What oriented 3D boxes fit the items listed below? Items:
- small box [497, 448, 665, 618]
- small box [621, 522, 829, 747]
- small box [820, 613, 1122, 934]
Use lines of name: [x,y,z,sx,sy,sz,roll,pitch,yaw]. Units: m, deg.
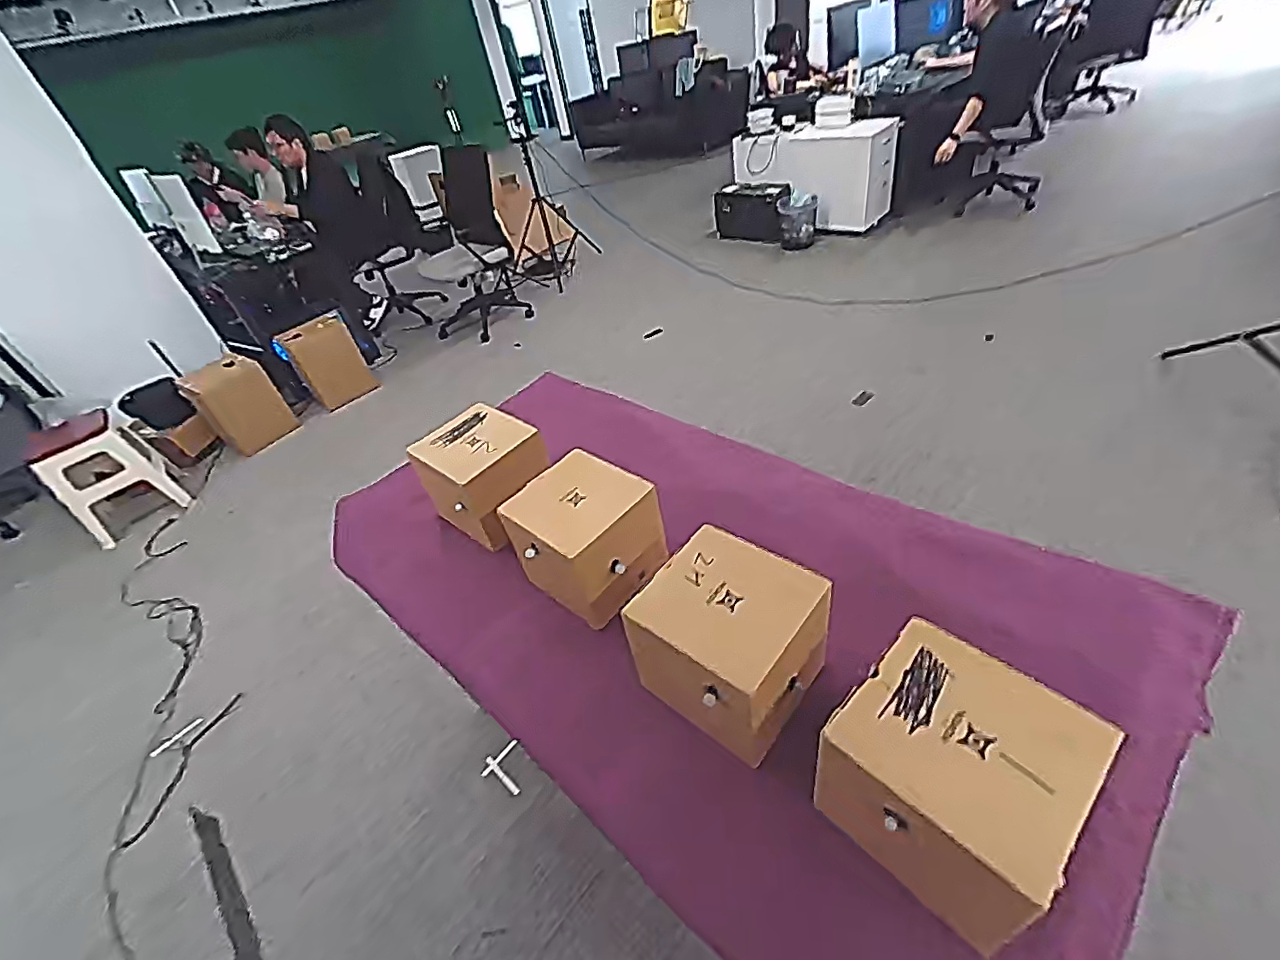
small box: [-0.081,0.084,0.830,0.179,0.176,0.168,25,53,37]
small box: [0.106,0.187,0.651,0.179,0.176,0.168,23,51,36]
small box: [0.287,0.268,0.506,0.168,0.176,0.179,-36,45,-26]
